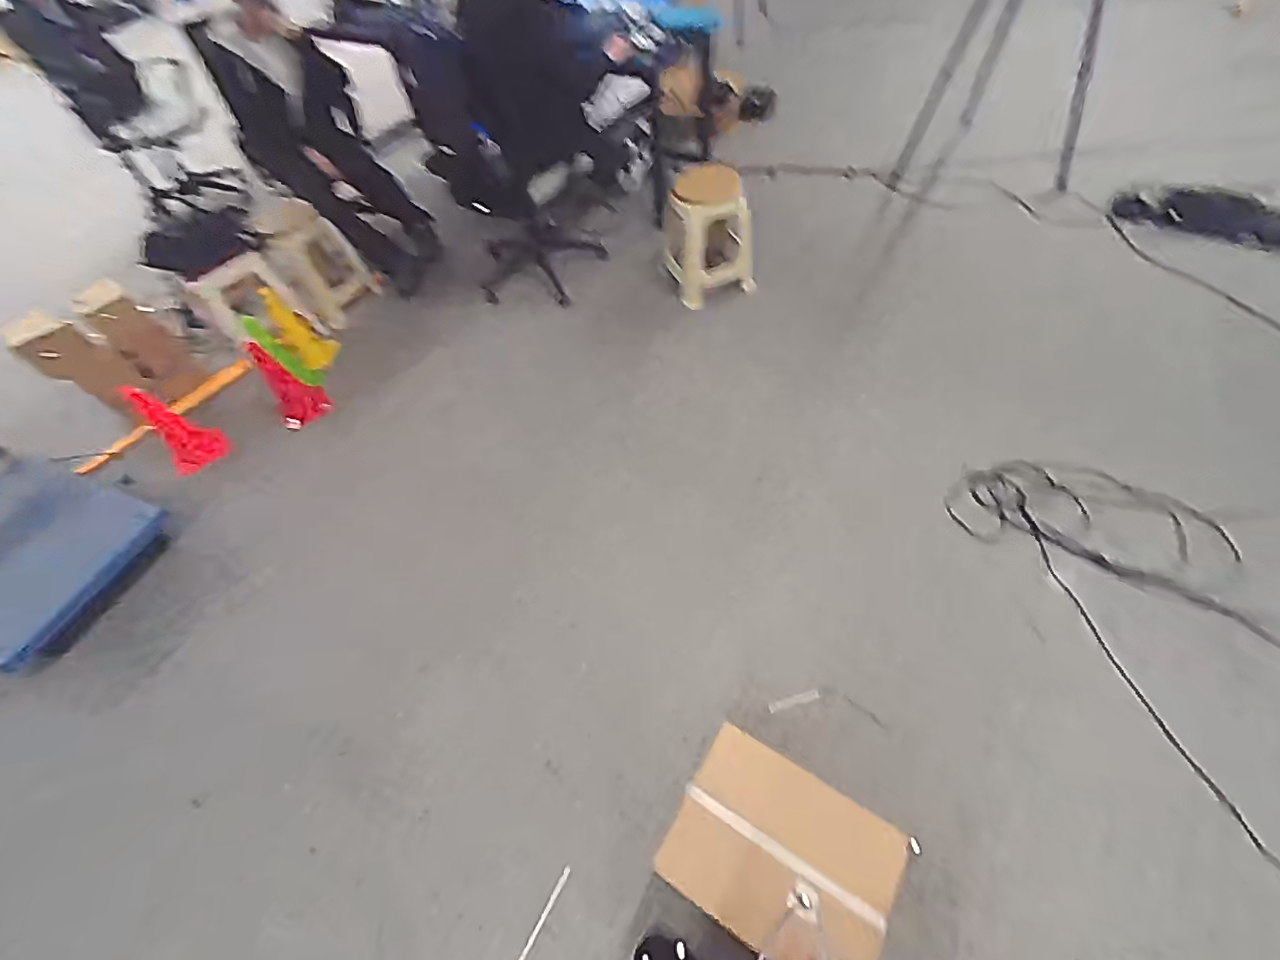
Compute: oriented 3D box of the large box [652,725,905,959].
[{"bbox_3d":[0.272,0.802,1.155,0.408,0.320,0.320,25,60,21],"label":"large box"}]
